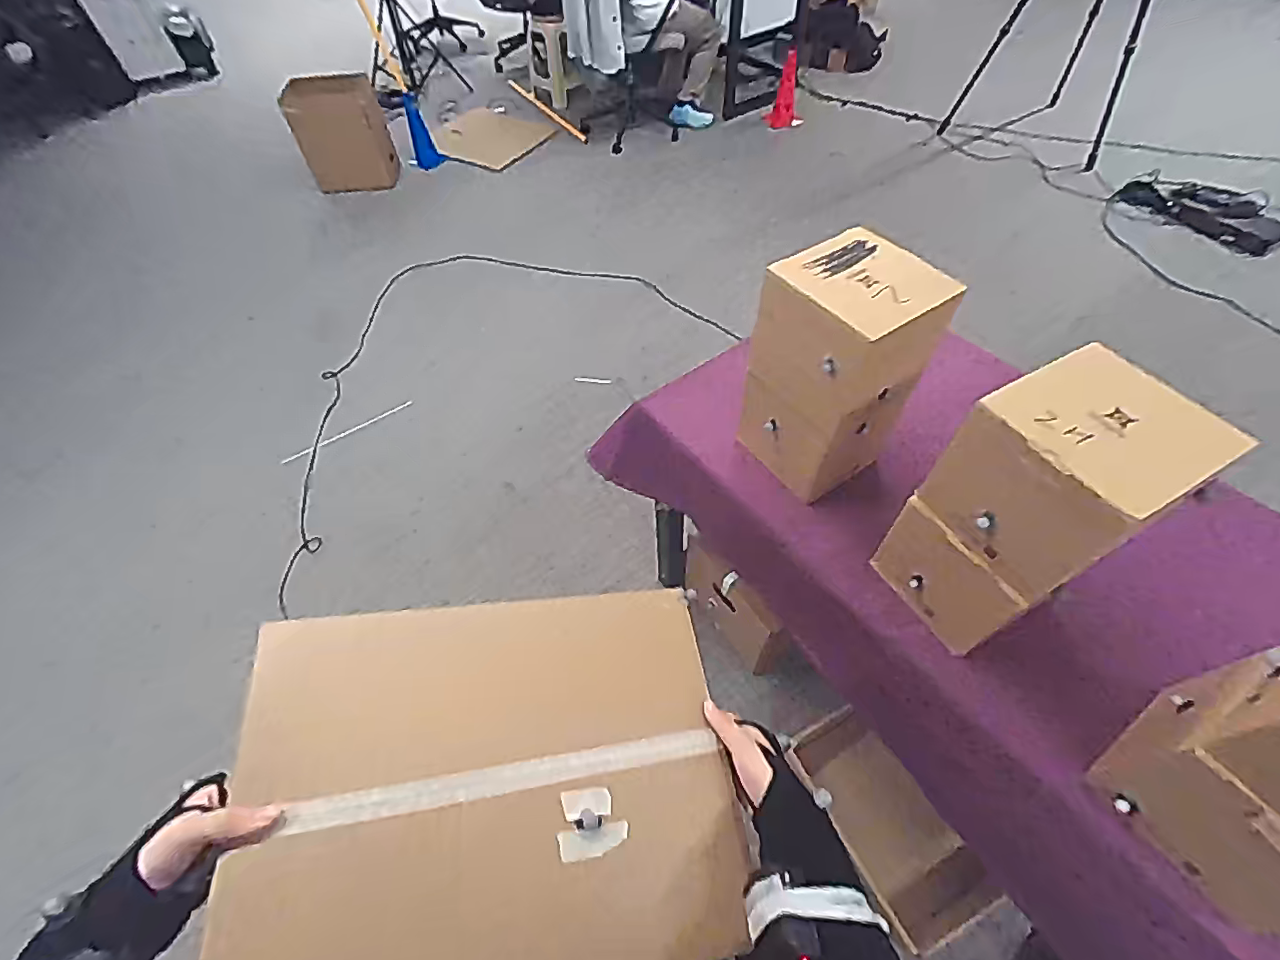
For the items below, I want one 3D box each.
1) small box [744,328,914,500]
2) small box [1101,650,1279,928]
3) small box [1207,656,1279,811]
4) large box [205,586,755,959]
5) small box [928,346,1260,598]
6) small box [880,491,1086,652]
[{"bbox_3d":[0.283,-0.102,0.855,0.168,0.176,0.179,-30,57,-16],"label":"small box"},{"bbox_3d":[0.622,0.309,0.539,0.179,0.176,0.168,-28,57,-18],"label":"small box"},{"bbox_3d":[0.619,0.214,0.405,0.168,0.176,0.179,-28,57,-17],"label":"small box"},{"bbox_3d":[-0.158,0.333,0.580,0.408,0.320,0.320,-1,57,-19],"label":"large box"},{"bbox_3d":[0.452,-0.005,0.574,0.179,0.176,0.168,-25,56,-13],"label":"small box"},{"bbox_3d":[0.452,0.093,0.706,0.179,0.176,0.168,-26,57,-14],"label":"small box"}]
